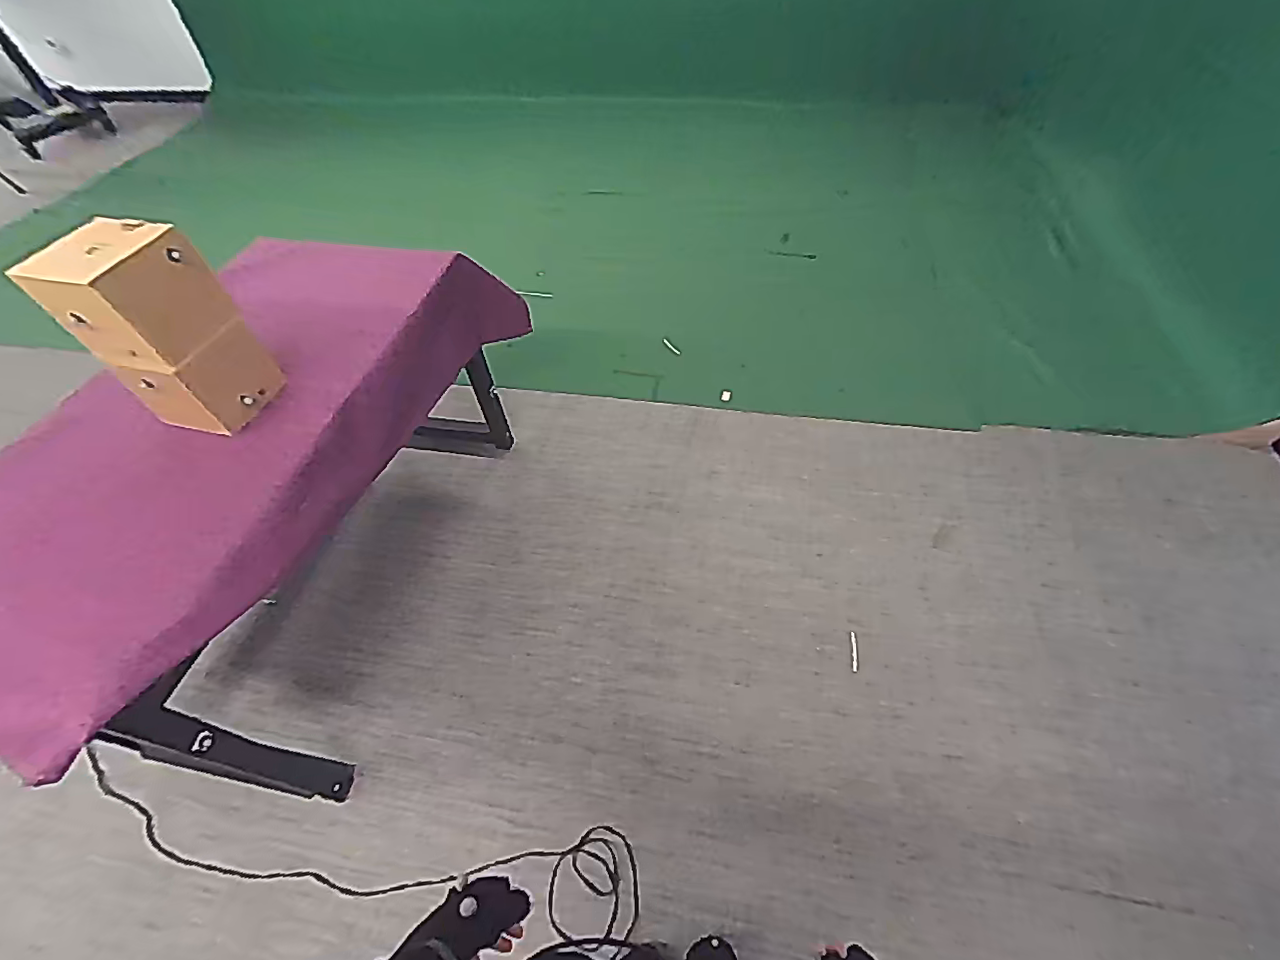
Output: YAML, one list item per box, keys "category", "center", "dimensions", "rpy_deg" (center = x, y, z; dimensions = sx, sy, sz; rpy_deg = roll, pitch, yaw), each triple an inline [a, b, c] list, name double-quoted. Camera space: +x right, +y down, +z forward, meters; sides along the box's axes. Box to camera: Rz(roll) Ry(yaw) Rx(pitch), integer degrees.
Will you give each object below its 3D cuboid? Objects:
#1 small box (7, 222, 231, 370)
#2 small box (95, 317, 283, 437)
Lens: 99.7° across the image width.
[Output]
- category: "small box"
  center: [-0.852, -0.307, 0.909]
  dimensions: [0.168, 0.176, 0.179]
  rpy_deg: [9, 54, 11]
- category: "small box"
  center: [-0.843, -0.202, 1.033]
  dimensions: [0.179, 0.176, 0.168]
  rpy_deg: [11, 55, 12]
